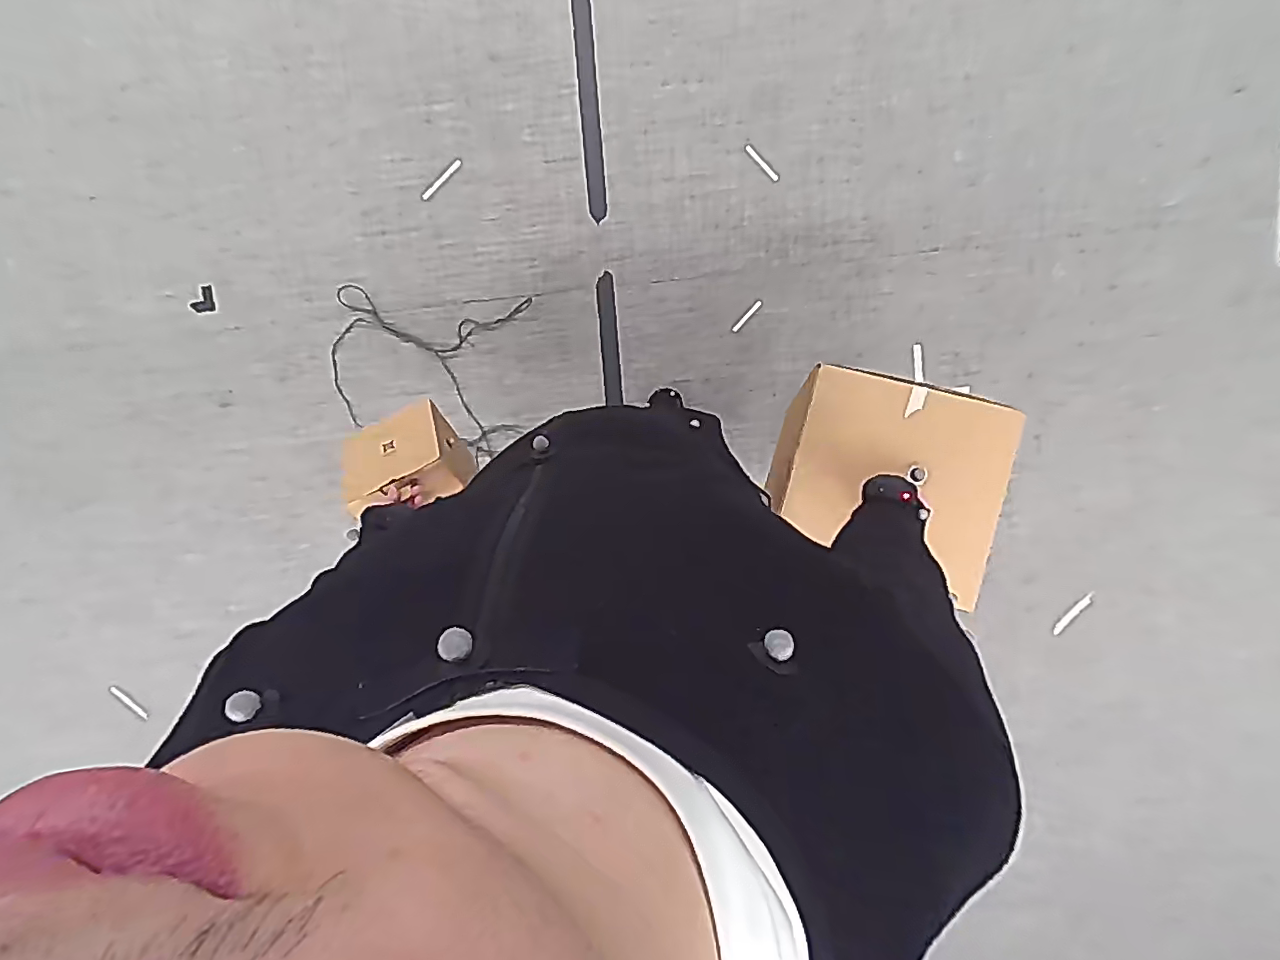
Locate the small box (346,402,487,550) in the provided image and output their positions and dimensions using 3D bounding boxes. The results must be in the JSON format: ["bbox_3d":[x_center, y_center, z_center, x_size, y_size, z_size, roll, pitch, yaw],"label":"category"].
[{"bbox_3d":[-0.389,0.001,0.955,0.168,0.179,0.176,-26,138,-4],"label":"small box"}]
